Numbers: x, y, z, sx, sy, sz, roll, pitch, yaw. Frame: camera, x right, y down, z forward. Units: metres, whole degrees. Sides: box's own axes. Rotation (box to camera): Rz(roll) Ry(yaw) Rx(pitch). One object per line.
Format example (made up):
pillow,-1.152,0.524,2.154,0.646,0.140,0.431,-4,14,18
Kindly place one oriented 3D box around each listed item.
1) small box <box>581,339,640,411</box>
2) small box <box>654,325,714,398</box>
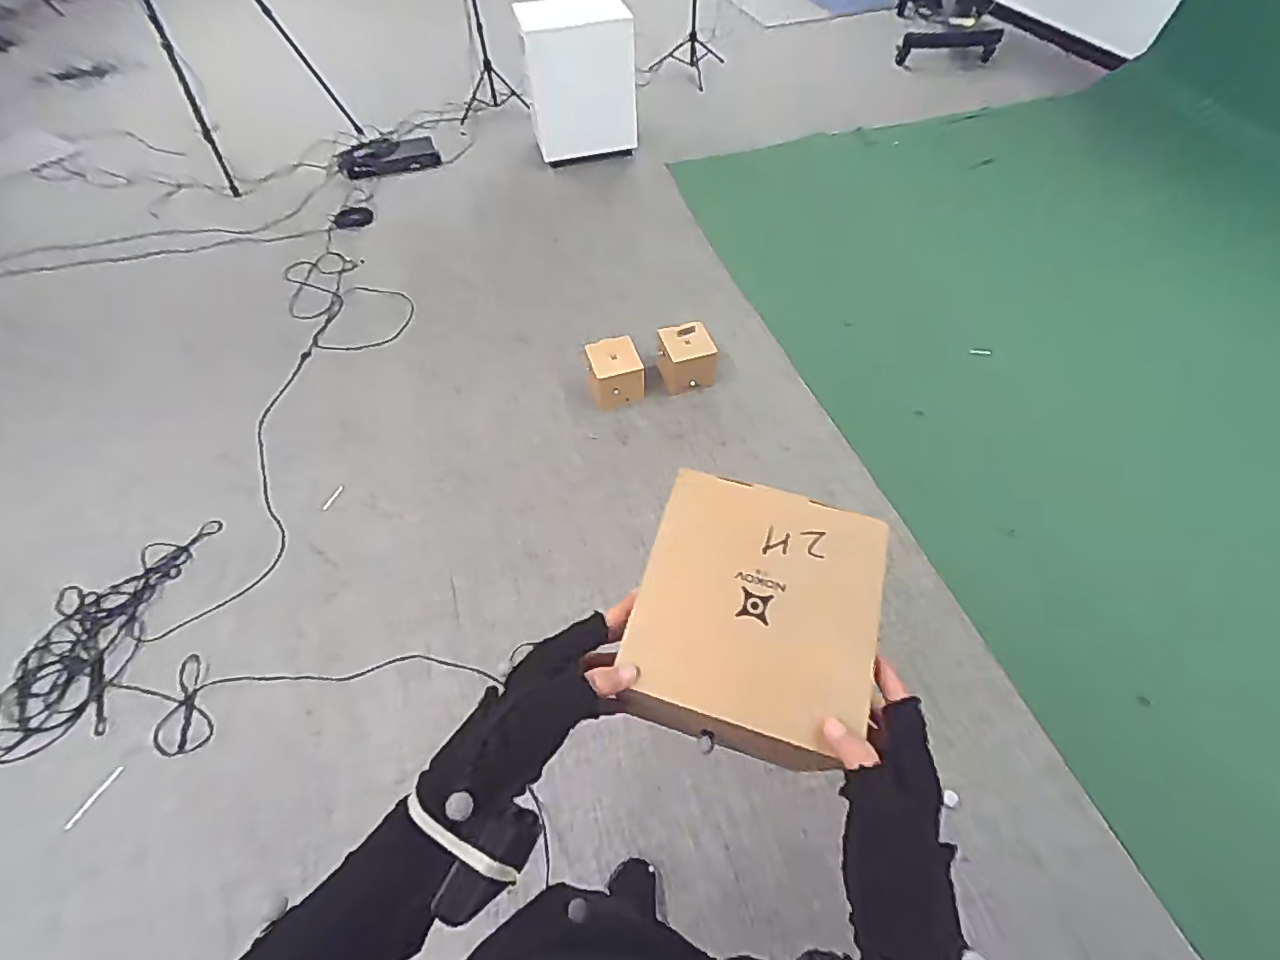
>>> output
small box,-0.101,-0.364,1.915,0.168,0.176,0.179,-16,56,-10
small box,0.152,-0.427,1.954,0.168,0.176,0.179,-15,58,-10
